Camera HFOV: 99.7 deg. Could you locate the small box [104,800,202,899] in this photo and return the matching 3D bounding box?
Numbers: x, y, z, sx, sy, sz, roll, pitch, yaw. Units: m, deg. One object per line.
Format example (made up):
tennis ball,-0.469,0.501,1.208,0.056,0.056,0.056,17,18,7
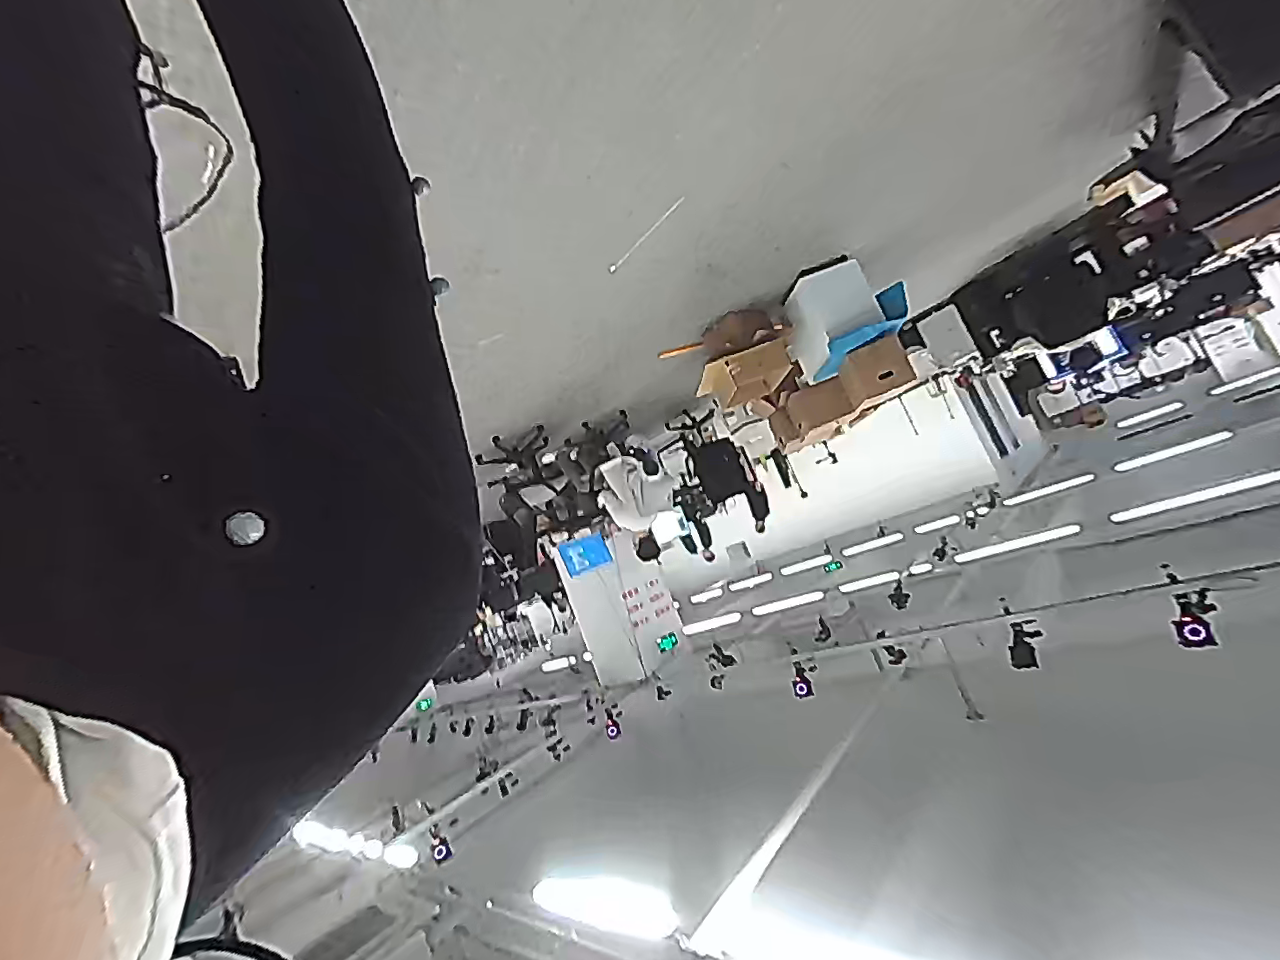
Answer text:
small box,-1.418,1.063,1.570,0.168,0.176,0.179,-27,172,38
